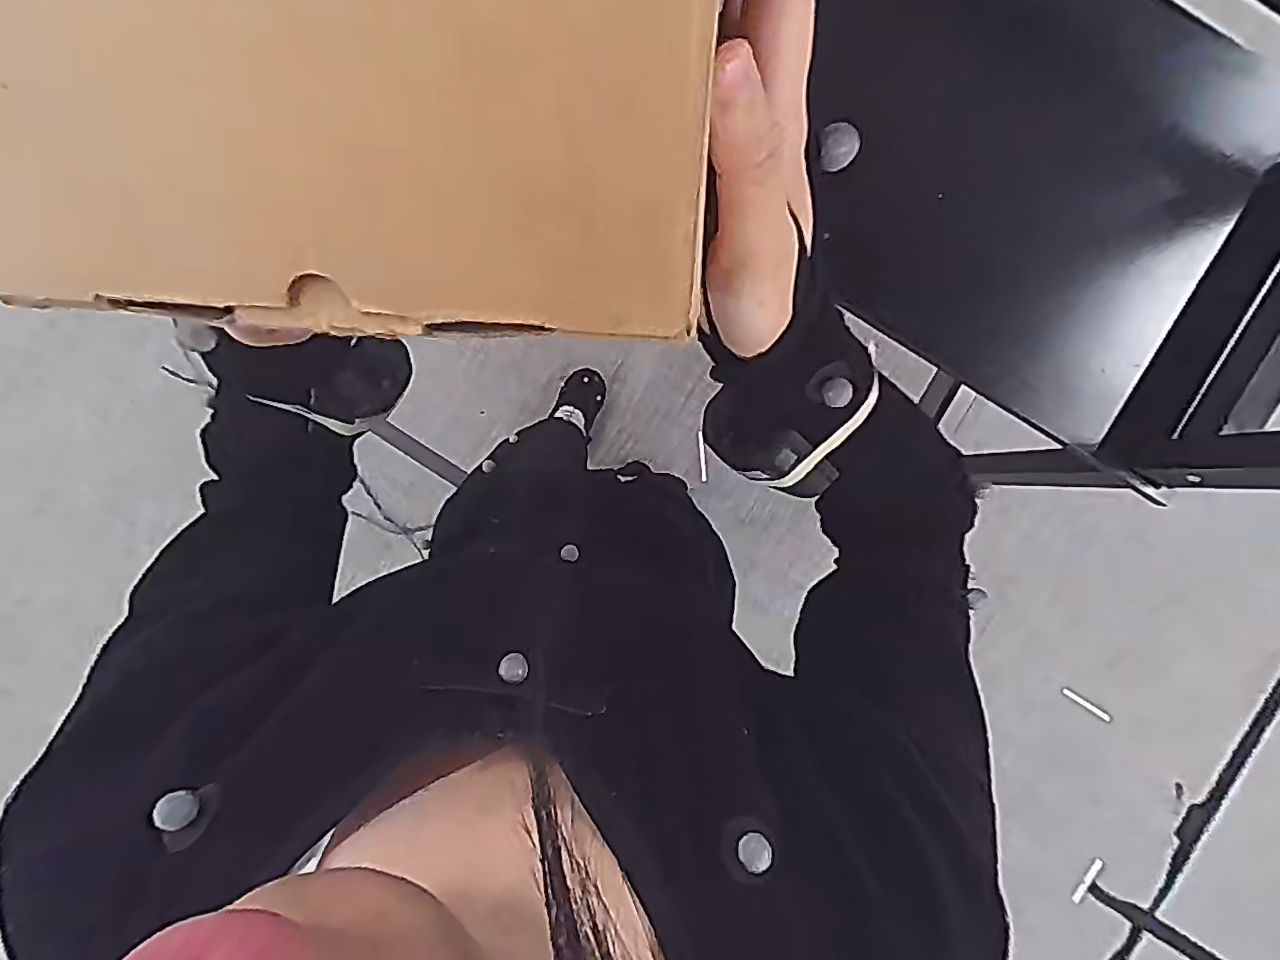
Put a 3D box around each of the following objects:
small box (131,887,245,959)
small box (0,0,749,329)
[{"bbox_3d":[-1.172,1.211,1.393,0.168,0.176,0.179,27,91,-1],"label":"small box"},{"bbox_3d":[-0.056,-0.149,0.148,0.168,0.176,0.179,4,117,3],"label":"small box"}]
